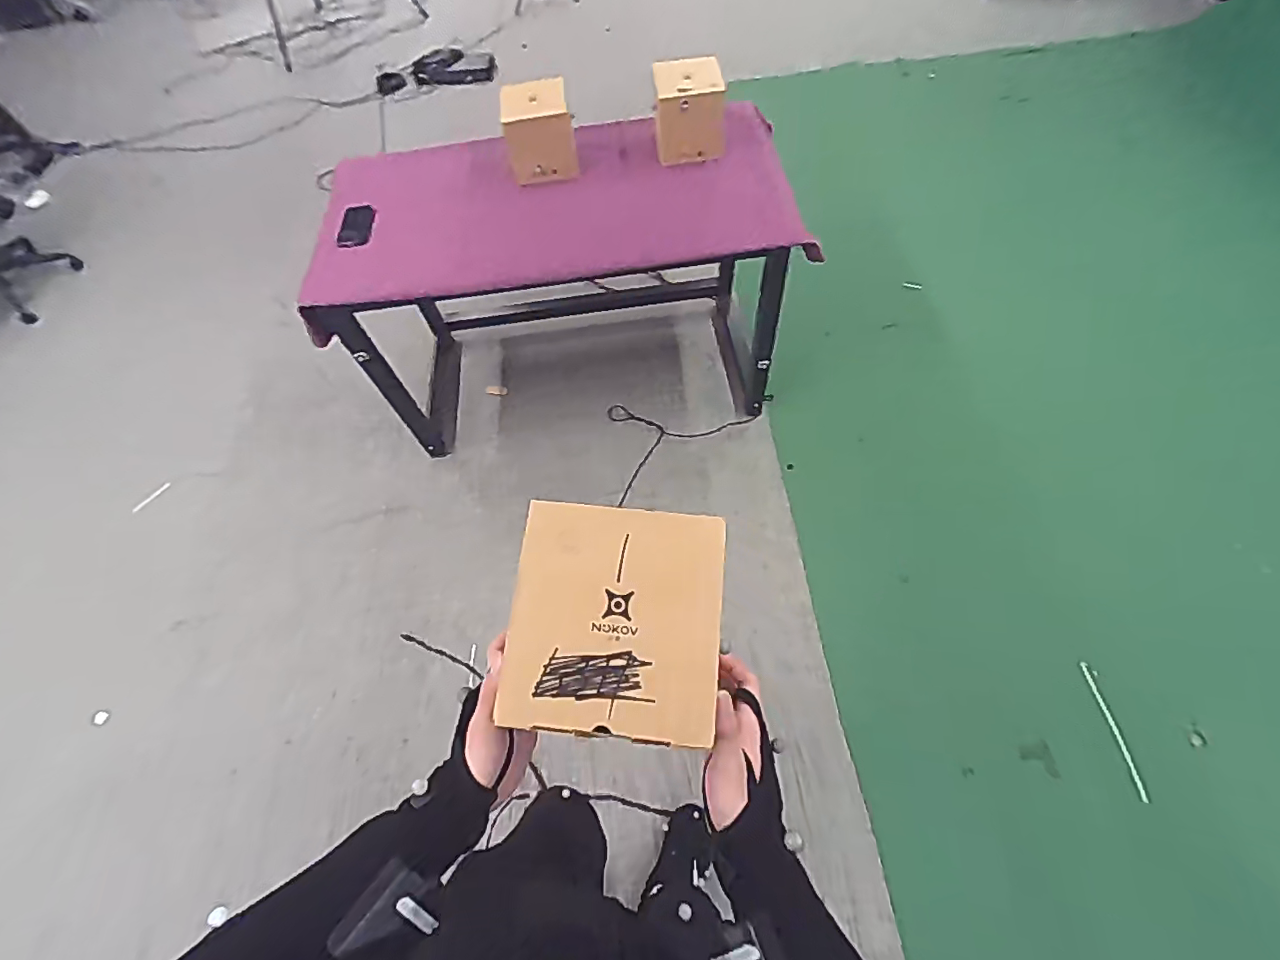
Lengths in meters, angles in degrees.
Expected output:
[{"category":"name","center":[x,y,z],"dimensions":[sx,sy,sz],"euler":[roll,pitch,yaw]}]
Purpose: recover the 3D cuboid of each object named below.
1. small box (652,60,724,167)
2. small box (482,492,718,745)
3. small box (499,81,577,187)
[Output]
[{"category":"small box","center":[0.123,-0.954,1.412],"dimensions":[0.168,0.176,0.179],"euler":[-7,59,3]},{"category":"small box","center":[-0.023,0.124,0.489],"dimensions":[0.168,0.176,0.179],"euler":[5,71,4]},{"category":"small box","center":[-0.263,-0.905,1.421],"dimensions":[0.168,0.176,0.179],"euler":[-8,60,1]}]
